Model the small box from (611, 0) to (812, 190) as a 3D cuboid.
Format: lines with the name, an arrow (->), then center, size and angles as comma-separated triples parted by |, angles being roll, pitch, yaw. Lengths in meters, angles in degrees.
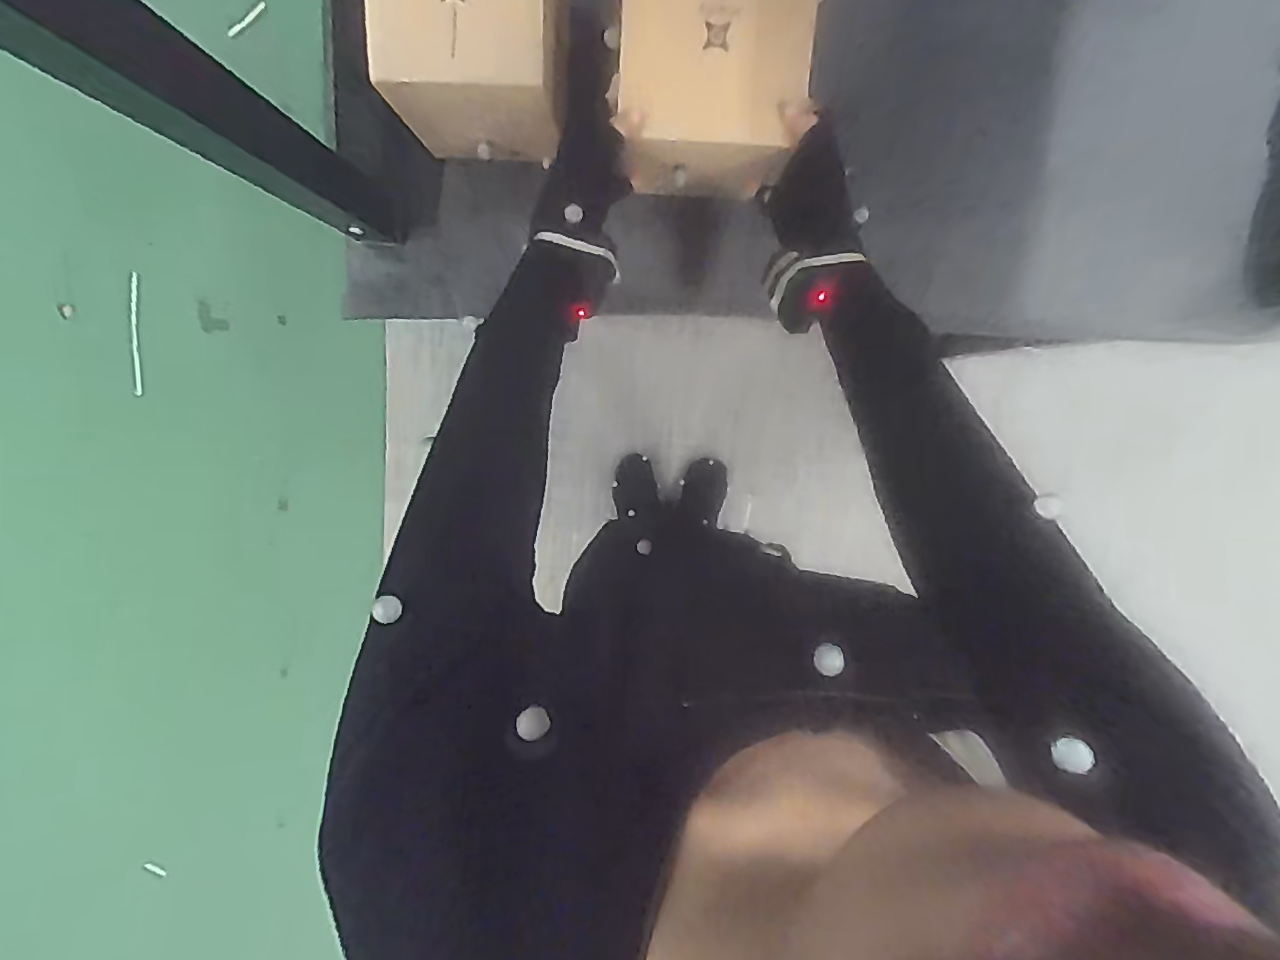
small box -> 0.064, -0.404, 0.531 | 0.168, 0.176, 0.179 | 3, 102, 1

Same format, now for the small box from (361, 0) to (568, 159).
small box -> -0.169, -0.469, 0.565 | 0.168, 0.176, 0.179 | 2, 99, 0
